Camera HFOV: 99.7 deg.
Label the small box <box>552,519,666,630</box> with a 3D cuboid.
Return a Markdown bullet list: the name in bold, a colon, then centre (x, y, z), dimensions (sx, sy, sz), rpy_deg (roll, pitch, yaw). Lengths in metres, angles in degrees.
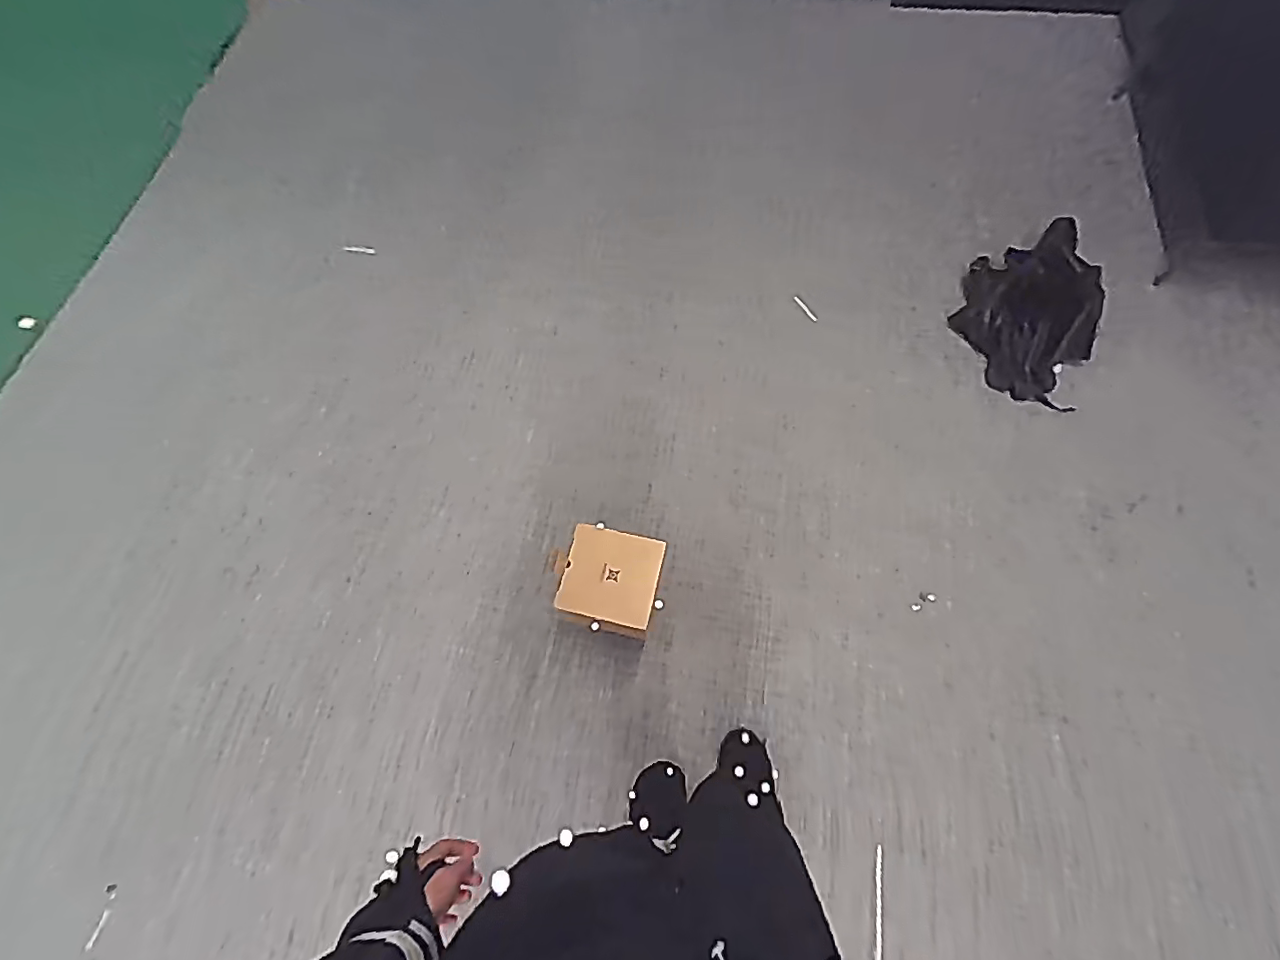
- **small box**: centre (-0.051, 0.191, 1.055), dimensions (0.179, 0.176, 0.168), rpy_deg (12, 70, 7)
